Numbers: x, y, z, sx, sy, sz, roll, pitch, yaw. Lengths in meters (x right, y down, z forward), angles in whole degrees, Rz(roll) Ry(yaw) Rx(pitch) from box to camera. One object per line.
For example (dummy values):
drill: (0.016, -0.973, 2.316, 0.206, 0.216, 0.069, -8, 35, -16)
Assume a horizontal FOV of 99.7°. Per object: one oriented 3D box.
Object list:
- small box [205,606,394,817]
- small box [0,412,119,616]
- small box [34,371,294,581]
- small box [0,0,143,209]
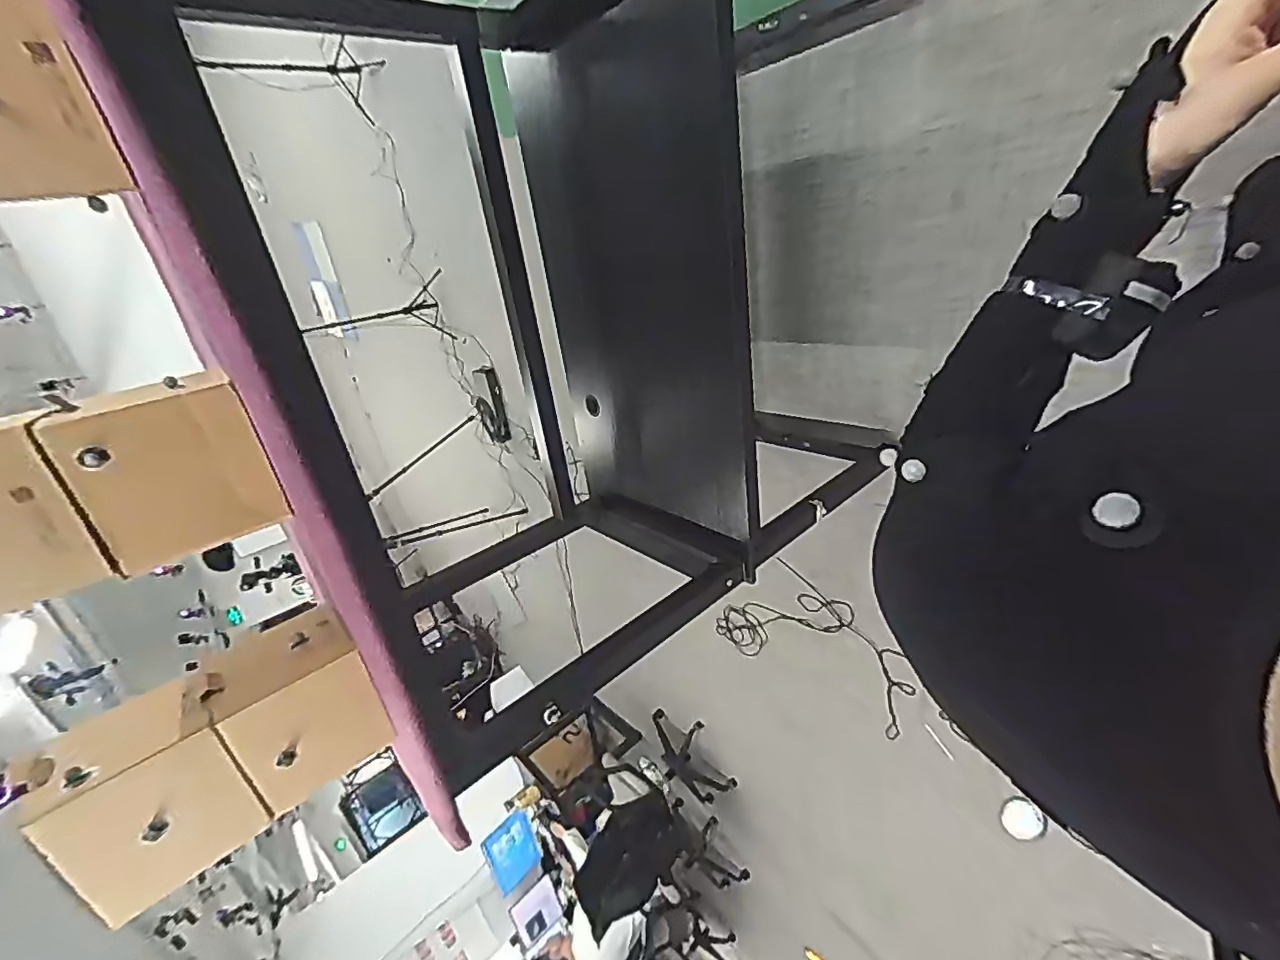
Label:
small box: (-0.477, 0.316, 0.771, 0.168, 0.176, 0.179, 18, 125, 46)
small box: (-0.663, 0.036, 0.549, 0.179, 0.176, 0.168, 18, 124, 50)
small box: (-0.539, -0.017, 0.640, 0.168, 0.176, 0.179, 20, 127, 47)
small box: (-0.596, -0.343, 0.492, 0.179, 0.176, 0.168, 28, 134, 43)
